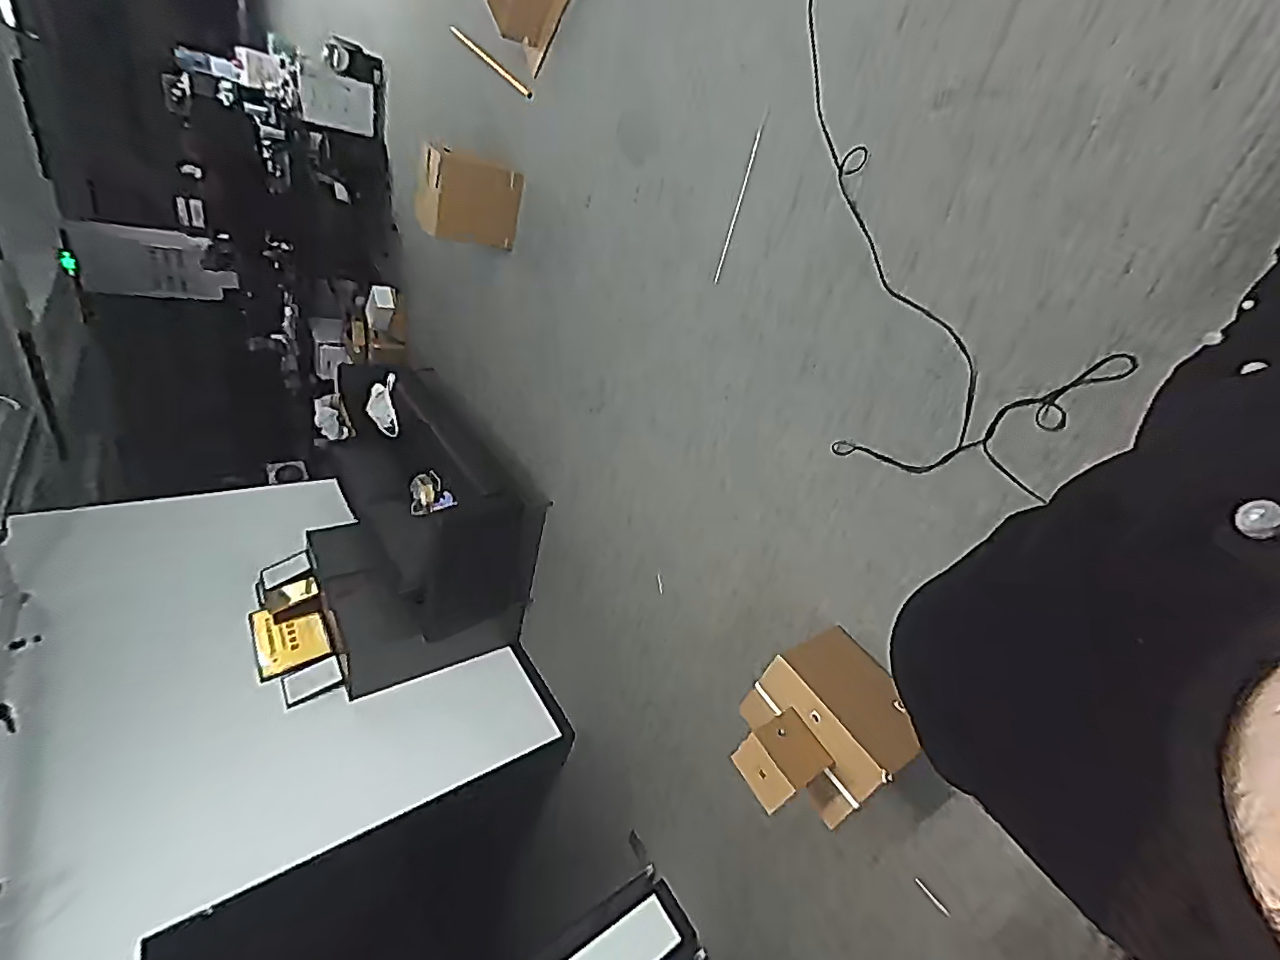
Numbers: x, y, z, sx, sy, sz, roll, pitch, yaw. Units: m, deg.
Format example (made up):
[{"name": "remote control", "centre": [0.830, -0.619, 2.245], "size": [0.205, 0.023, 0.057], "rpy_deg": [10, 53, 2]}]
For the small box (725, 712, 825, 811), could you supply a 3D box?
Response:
[{"name": "small box", "centre": [0.381, 0.786, 1.532], "size": [0.179, 0.176, 0.168], "rpy_deg": [50, 136, 33]}]
